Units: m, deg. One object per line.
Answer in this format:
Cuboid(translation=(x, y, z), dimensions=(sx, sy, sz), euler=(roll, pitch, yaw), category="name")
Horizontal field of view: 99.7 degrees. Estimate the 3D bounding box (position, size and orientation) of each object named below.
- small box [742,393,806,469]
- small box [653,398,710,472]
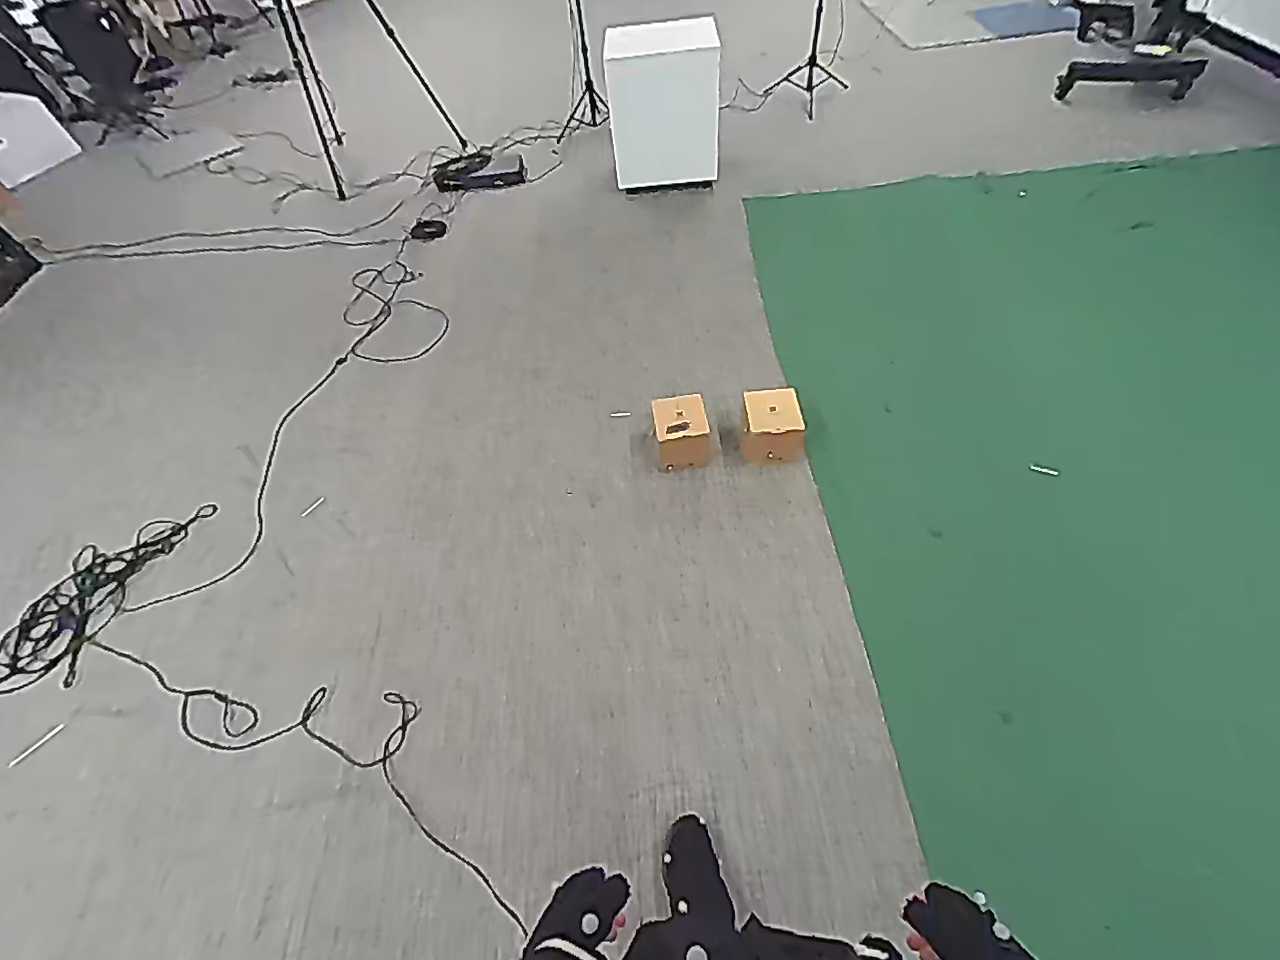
Cuboid(translation=(0.429, -0.159, 1.766), dimensions=(0.168, 0.176, 0.179), euler=(-5, 54, 3), category="small box")
Cuboid(translation=(0.137, -0.141, 1.781), dimensions=(0.168, 0.176, 0.179), euler=(-8, 53, 0), category="small box")
